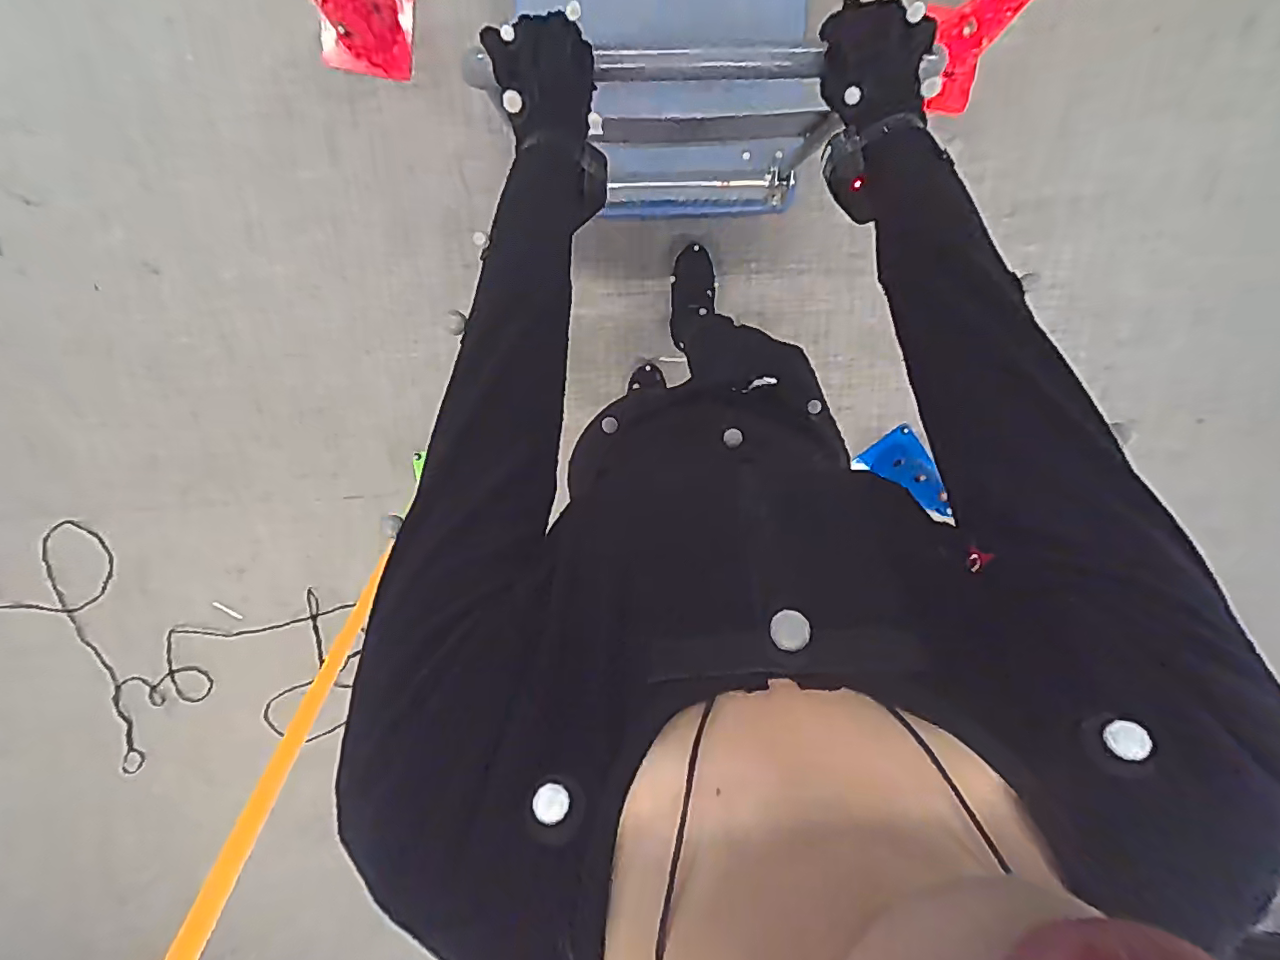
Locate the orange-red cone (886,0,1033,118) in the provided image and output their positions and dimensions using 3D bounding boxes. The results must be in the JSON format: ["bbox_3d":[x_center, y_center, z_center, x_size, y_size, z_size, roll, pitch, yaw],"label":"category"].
[{"bbox_3d":[0.678,-0.902,1.074,0.198,0.360,0.199,8,107,-2],"label":"orange-red cone"}]
